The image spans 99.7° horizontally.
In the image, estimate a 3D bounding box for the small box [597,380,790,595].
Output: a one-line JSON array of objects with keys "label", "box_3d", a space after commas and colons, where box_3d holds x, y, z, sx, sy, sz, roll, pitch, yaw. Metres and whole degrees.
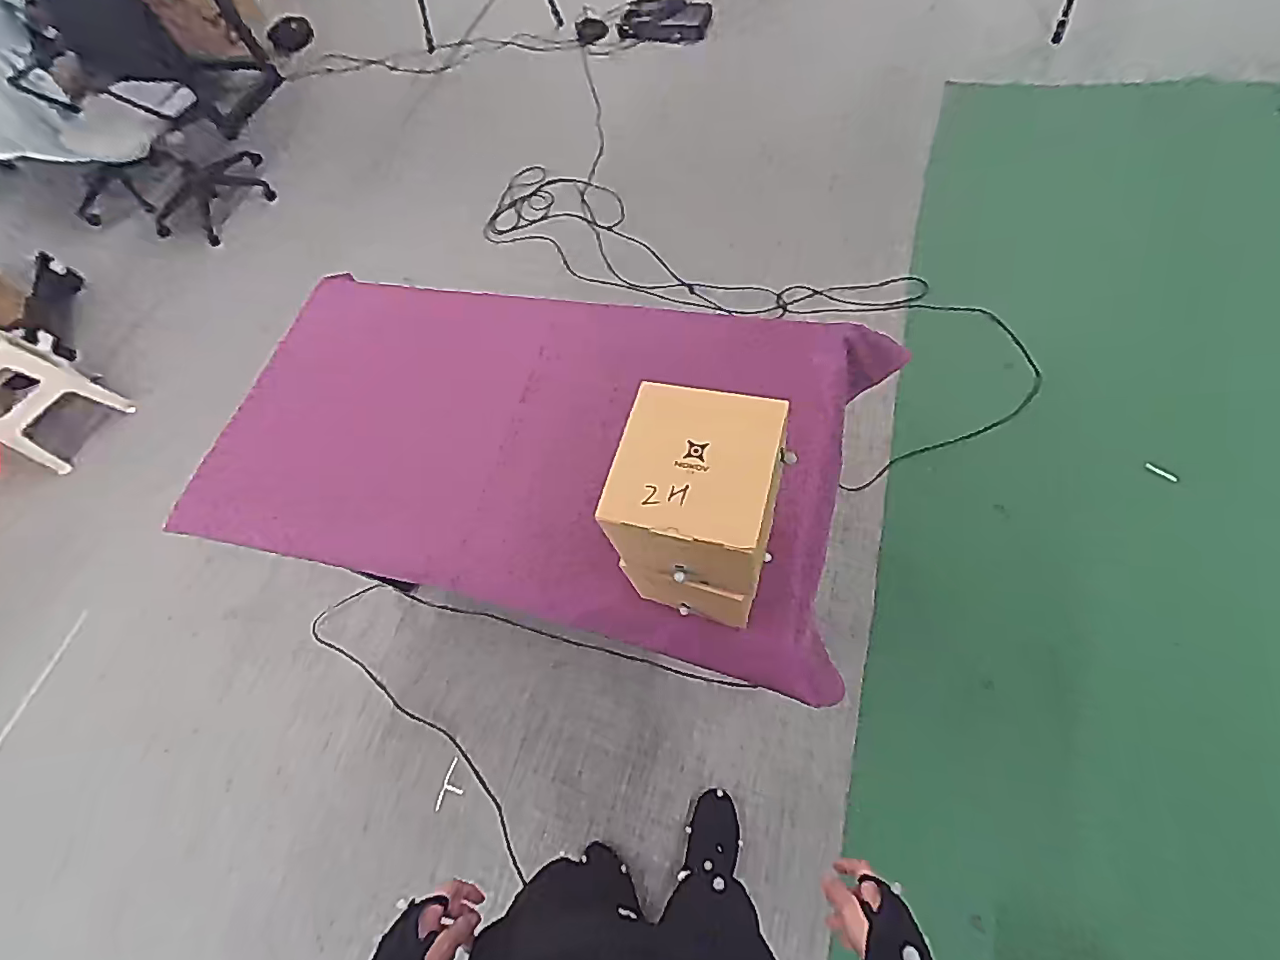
[{"label": "small box", "box_3d": [0.070, 0.013, 0.628, 0.168, 0.176, 0.179, 11, 67, 17]}]
